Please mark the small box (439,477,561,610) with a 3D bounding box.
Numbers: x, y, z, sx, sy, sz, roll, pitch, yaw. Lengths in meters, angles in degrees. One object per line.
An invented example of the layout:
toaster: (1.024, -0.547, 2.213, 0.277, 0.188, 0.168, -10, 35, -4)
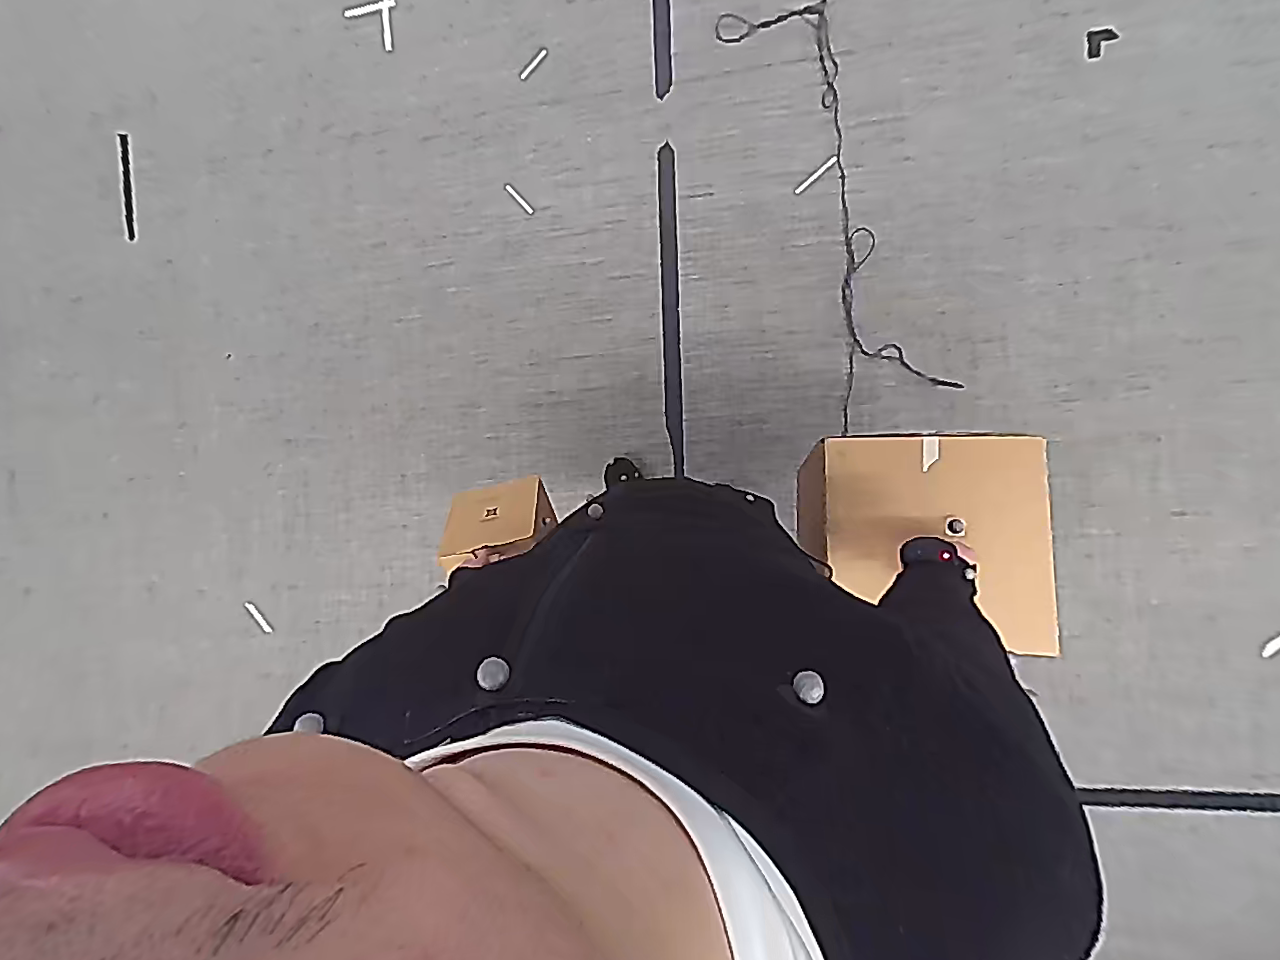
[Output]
small box: (-0.250, 0.125, 1.013, 0.168, 0.179, 0.176, -12, 127, 2)
